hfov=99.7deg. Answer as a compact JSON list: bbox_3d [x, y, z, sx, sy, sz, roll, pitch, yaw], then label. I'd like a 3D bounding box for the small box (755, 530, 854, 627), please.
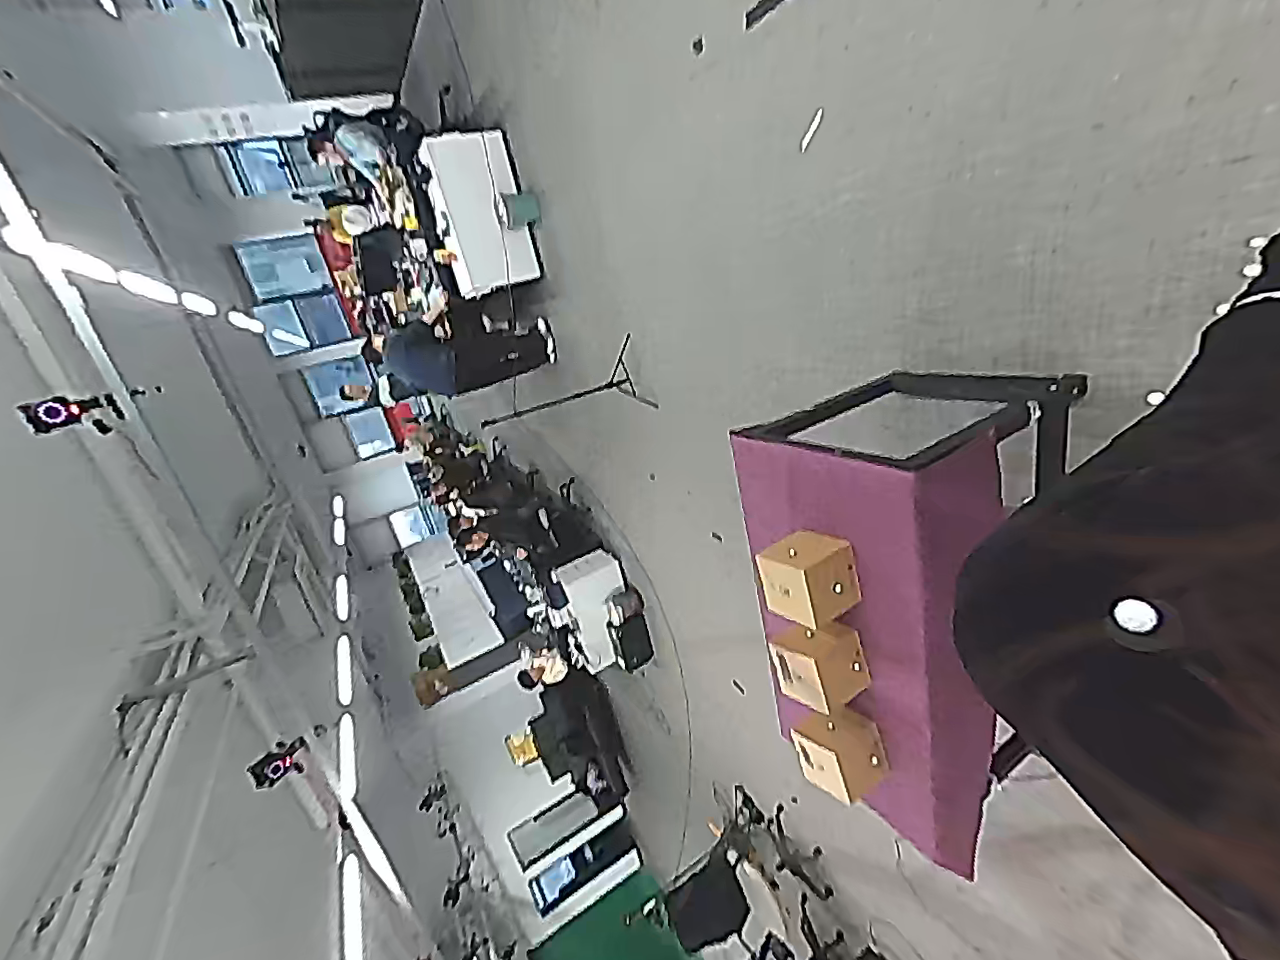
[{"bbox_3d":[0.431,0.245,1.398,0.179,0.176,0.168,13,123,62],"label":"small box"}]

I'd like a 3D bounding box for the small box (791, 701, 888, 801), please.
[{"bbox_3d":[0.577,0.773,1.566,0.179,0.176,0.168,-3,109,64],"label":"small box"}]
